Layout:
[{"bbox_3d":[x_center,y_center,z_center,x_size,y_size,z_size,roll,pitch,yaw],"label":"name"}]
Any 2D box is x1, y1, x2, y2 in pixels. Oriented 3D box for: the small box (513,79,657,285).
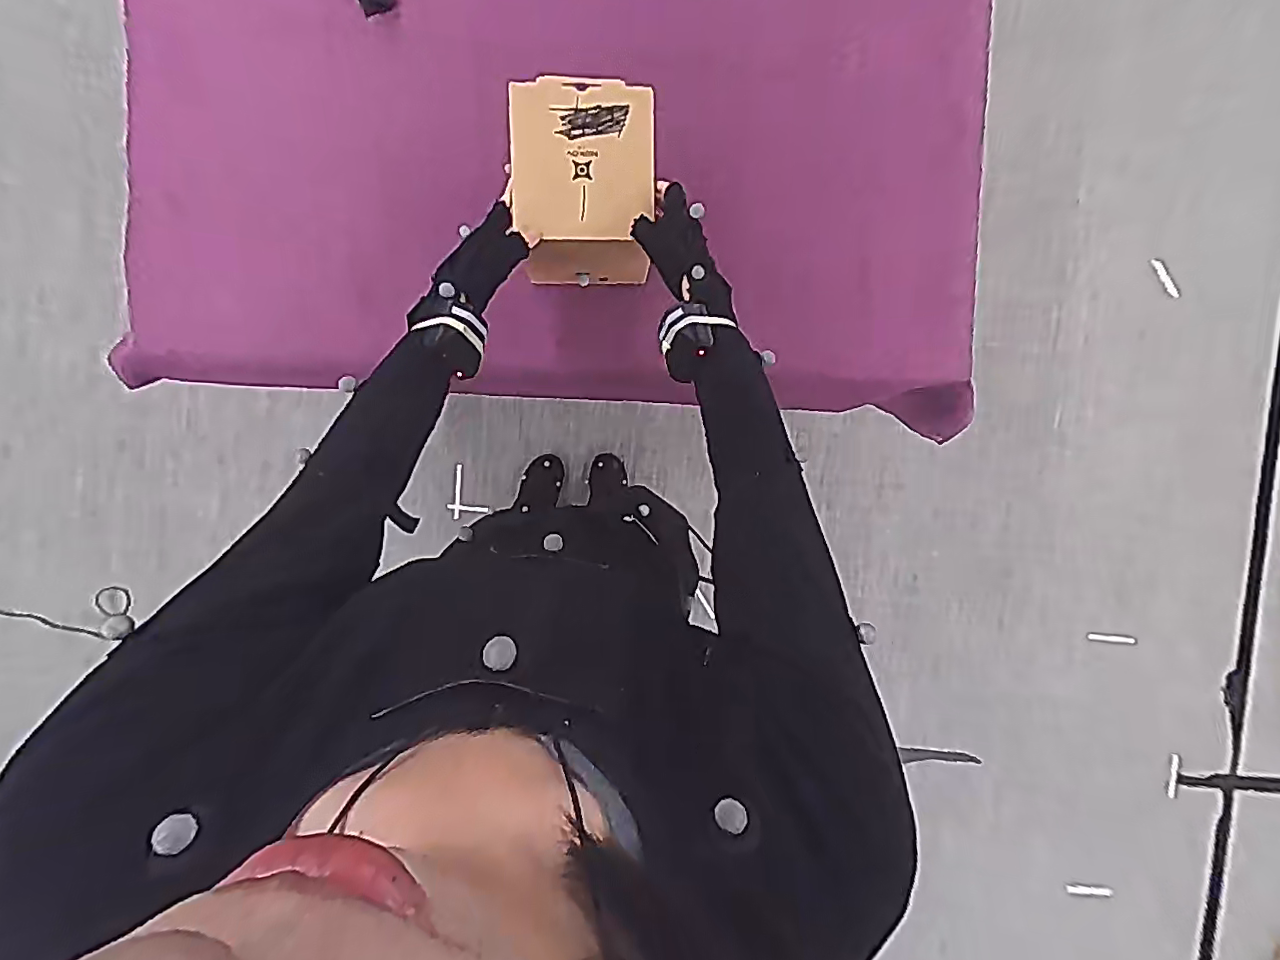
[{"bbox_3d":[-0.068,-0.366,0.693,0.168,0.176,0.179,-1,93,-4],"label":"small box"}]
